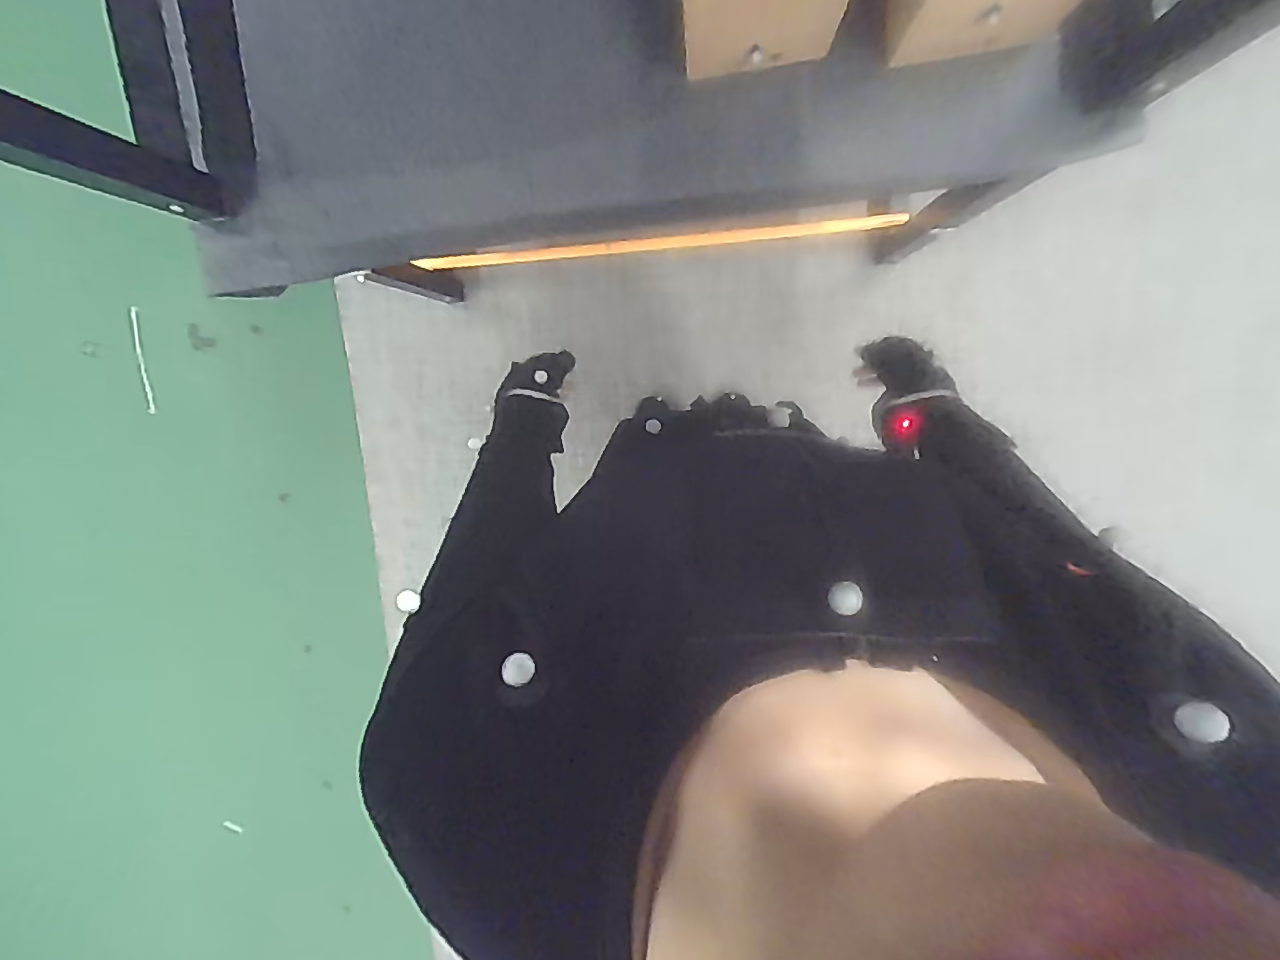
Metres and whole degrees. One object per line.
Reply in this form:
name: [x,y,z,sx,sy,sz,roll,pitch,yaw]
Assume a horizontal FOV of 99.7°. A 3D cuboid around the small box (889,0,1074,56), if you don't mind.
small box: [0.355,-0.555,0.527,0.168,0.176,0.179,-4,99,7]
